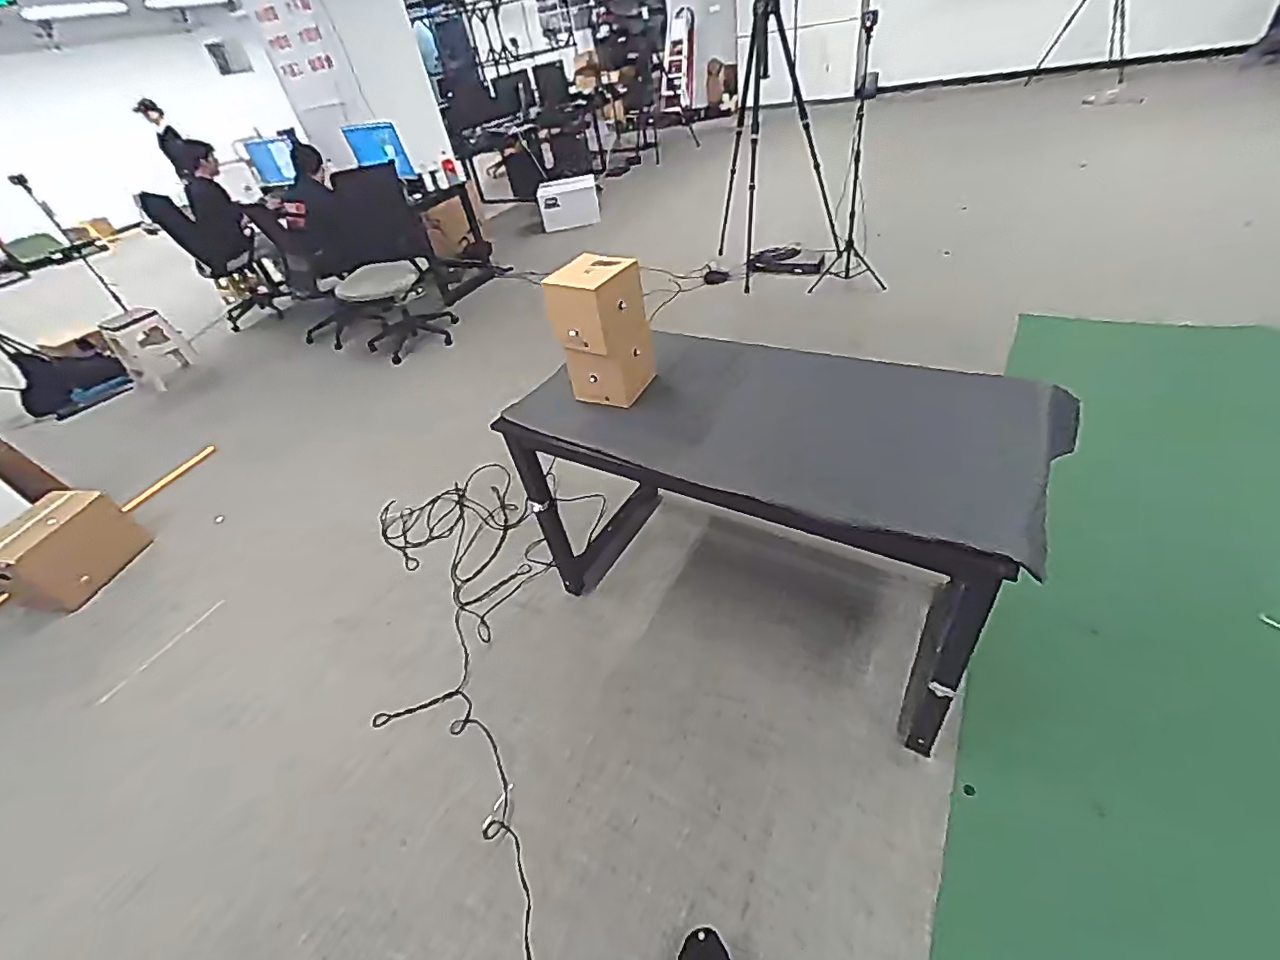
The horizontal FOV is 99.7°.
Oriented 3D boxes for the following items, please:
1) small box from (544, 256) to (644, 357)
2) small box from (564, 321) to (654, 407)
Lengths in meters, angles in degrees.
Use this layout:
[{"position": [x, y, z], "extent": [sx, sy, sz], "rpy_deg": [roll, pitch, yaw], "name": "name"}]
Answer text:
[{"position": [-0.103, -0.427, 1.323], "extent": [0.168, 0.176, 0.179], "rpy_deg": [19, 50, 30], "name": "small box"}, {"position": [-0.072, -0.314, 1.439], "extent": [0.168, 0.176, 0.179], "rpy_deg": [13, 45, 24], "name": "small box"}]
